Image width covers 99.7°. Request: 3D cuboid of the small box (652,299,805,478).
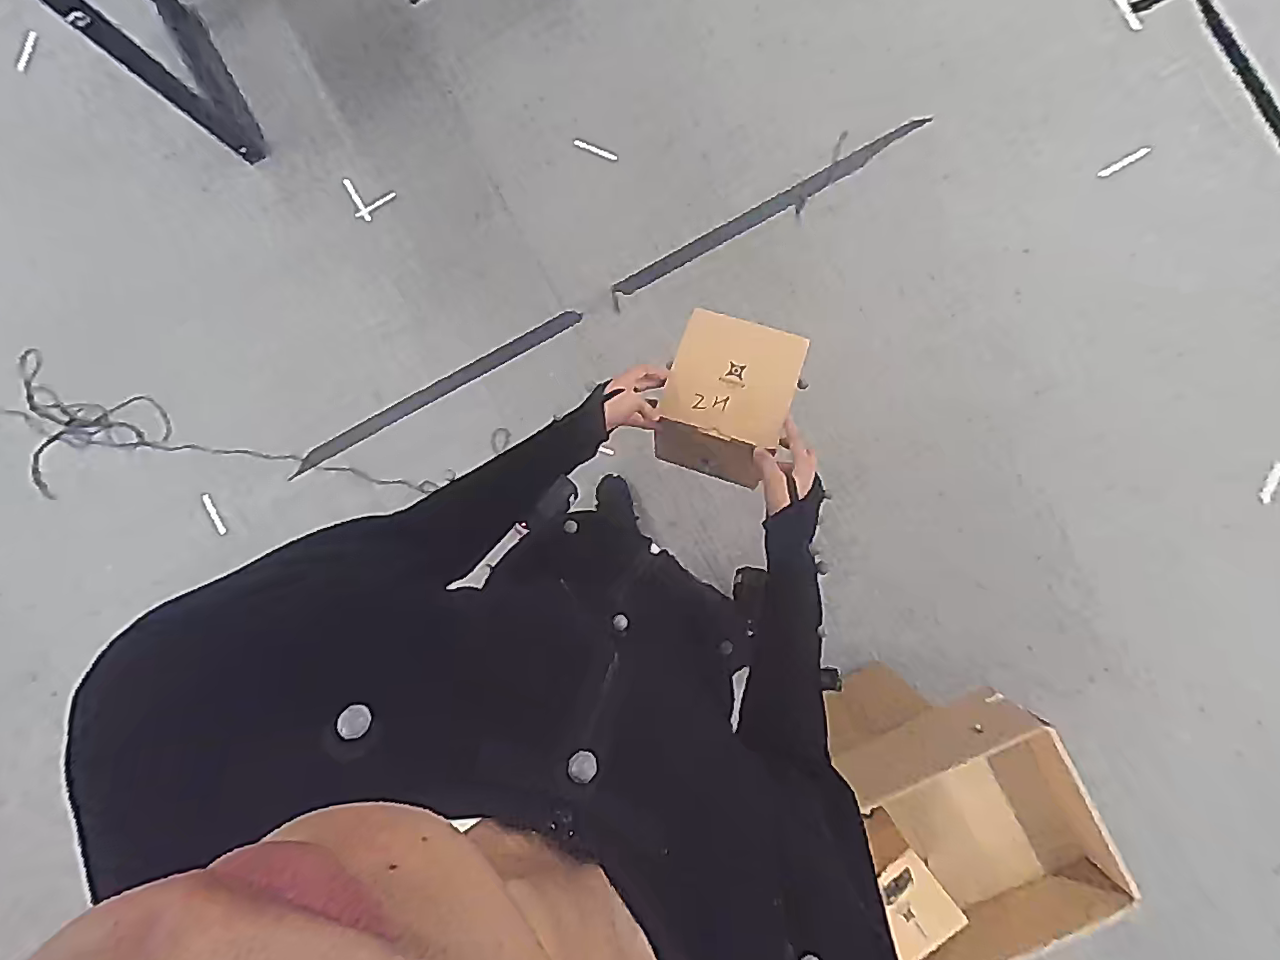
[{"bbox_3d":[0.122,-0.124,0.790,0.168,0.176,0.179,18,75,8],"label":"small box"}]
